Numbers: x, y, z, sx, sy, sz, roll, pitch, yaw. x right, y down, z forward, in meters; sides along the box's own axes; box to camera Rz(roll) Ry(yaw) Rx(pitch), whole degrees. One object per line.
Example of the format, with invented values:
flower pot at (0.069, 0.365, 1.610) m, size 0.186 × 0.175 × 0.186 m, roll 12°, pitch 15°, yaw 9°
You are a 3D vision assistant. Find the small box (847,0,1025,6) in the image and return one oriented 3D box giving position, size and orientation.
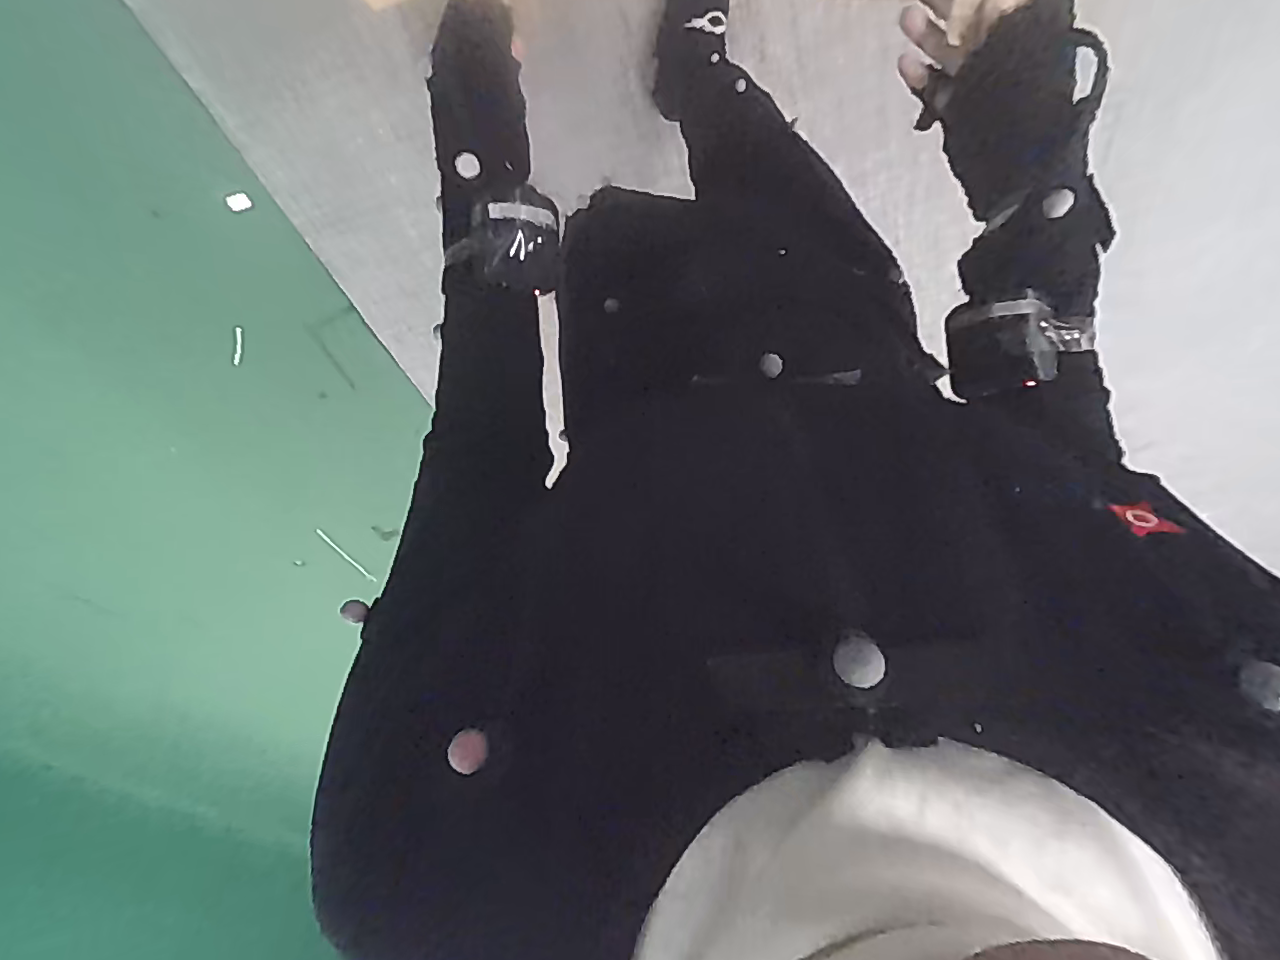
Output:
small box at (0.215, -0.407, 0.325) m, size 0.168 × 0.176 × 0.179 m, roll 2°, pitch 127°, yaw 2°
